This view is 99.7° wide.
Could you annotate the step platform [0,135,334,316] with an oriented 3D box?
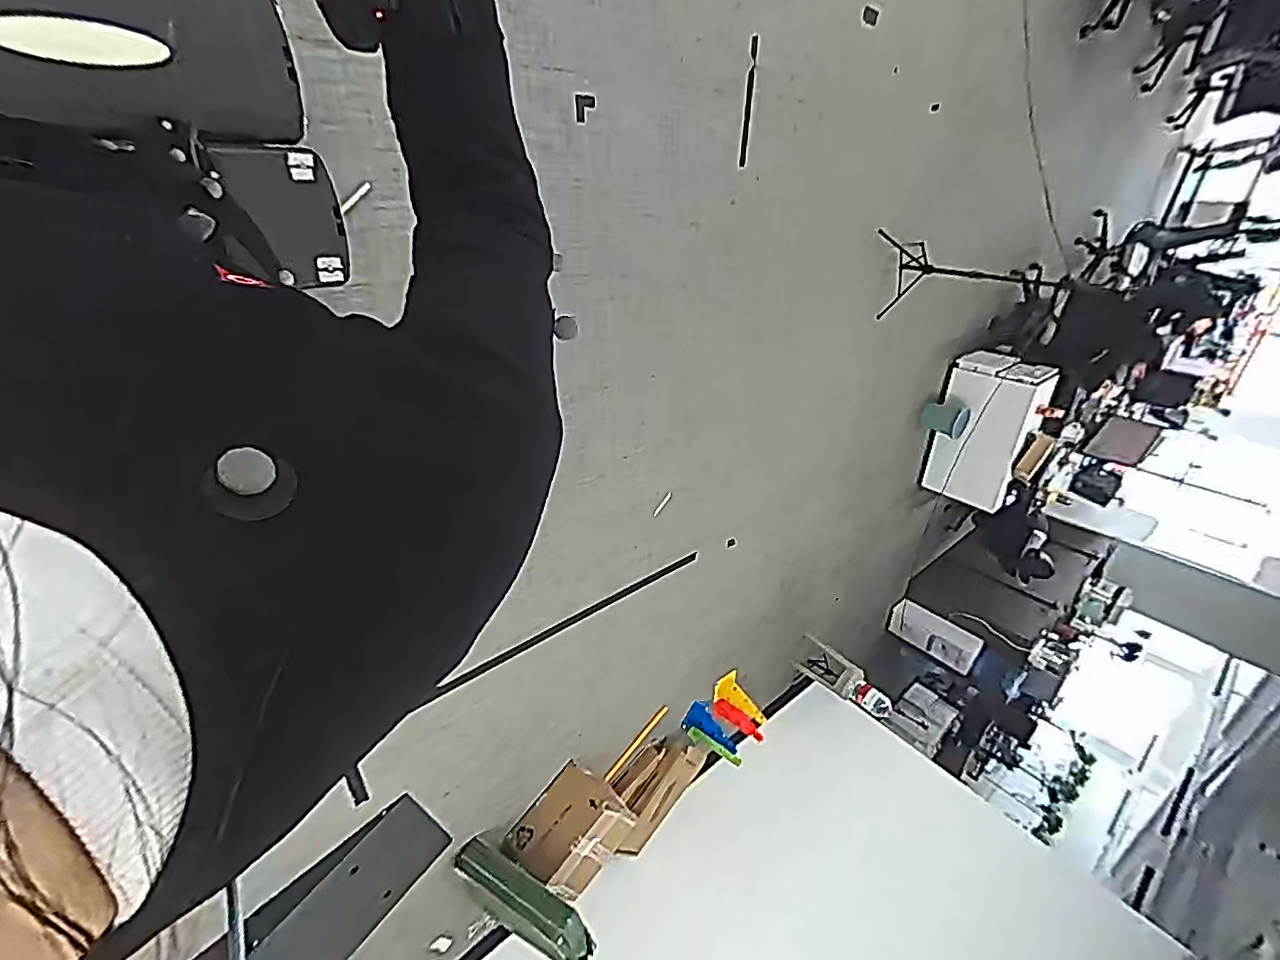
[{"bbox_3d":[-1.000,-0.508,1.069,0.684,0.204,0.286,-21,125,-32],"label":"step platform"}]
